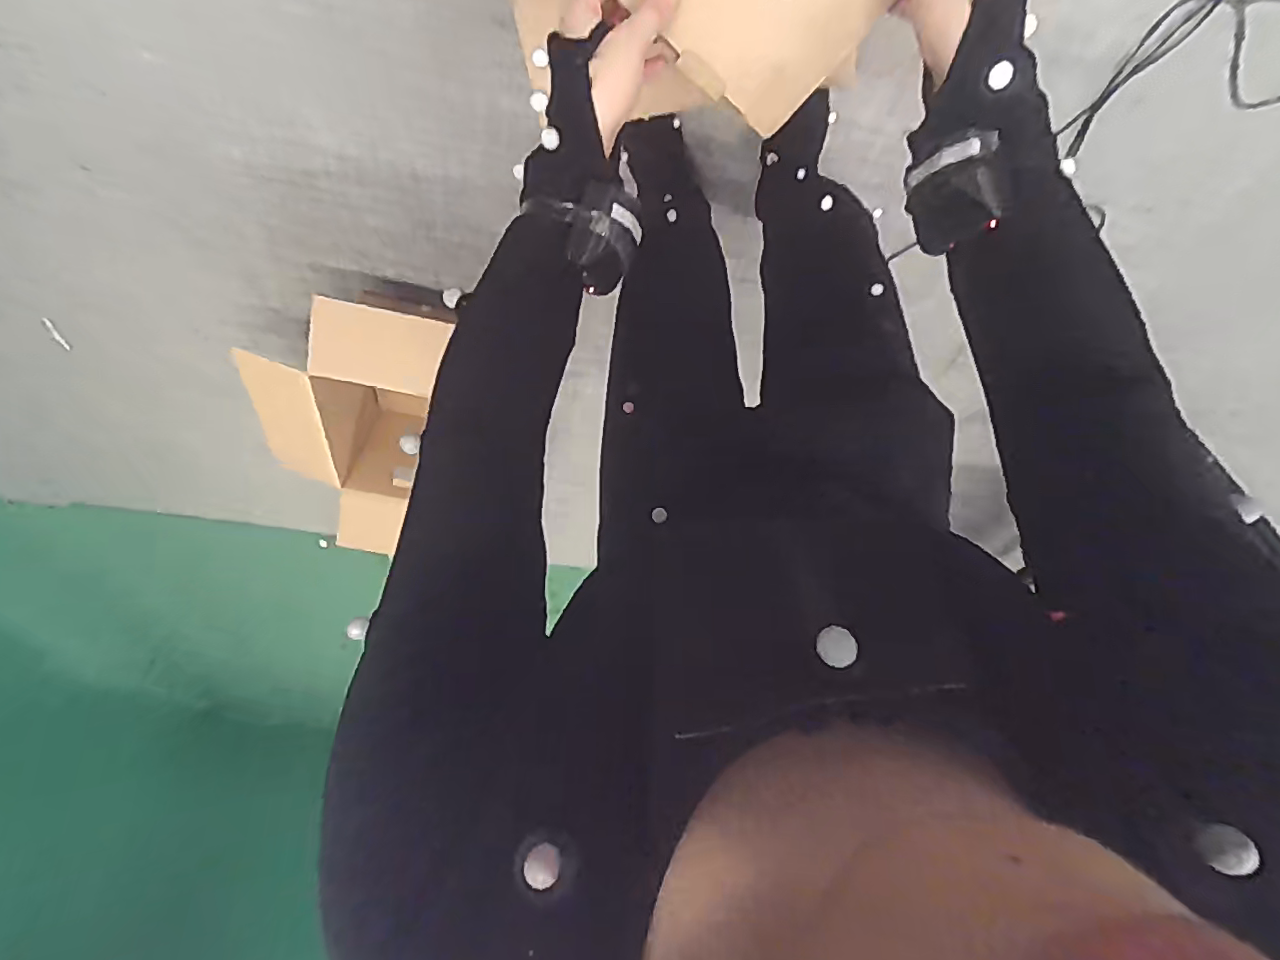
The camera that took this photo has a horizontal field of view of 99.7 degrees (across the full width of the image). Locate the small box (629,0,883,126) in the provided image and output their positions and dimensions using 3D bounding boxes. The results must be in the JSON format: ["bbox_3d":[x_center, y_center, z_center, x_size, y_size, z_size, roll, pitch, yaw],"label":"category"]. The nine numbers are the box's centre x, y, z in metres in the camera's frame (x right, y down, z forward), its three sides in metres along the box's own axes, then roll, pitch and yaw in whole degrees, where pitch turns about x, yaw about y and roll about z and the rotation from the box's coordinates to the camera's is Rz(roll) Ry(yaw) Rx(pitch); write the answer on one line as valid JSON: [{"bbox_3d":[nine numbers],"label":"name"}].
[{"bbox_3d":[0.095,-0.435,0.412,0.168,0.176,0.179,20,143,-33],"label":"small box"}]
